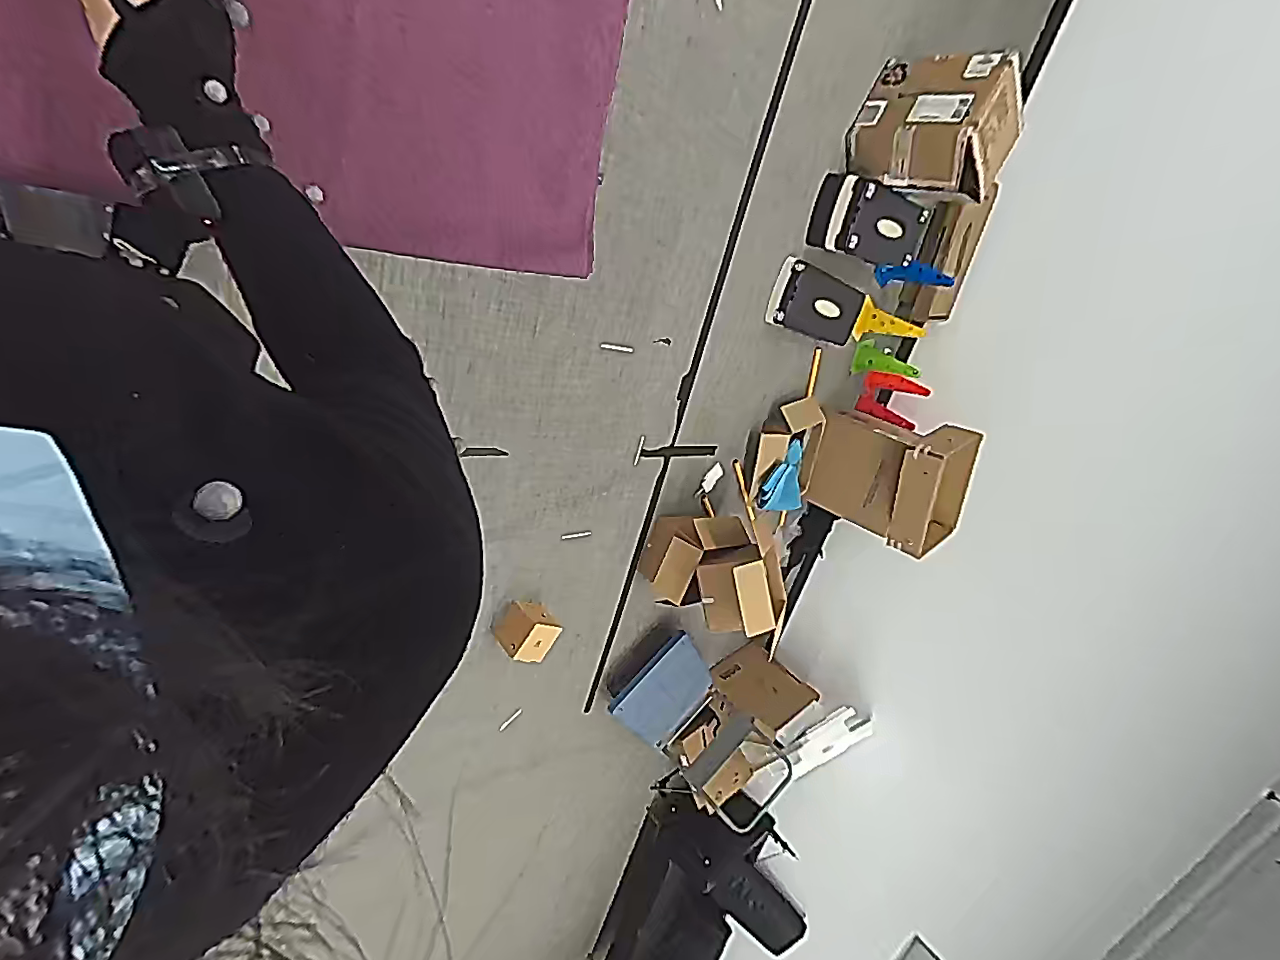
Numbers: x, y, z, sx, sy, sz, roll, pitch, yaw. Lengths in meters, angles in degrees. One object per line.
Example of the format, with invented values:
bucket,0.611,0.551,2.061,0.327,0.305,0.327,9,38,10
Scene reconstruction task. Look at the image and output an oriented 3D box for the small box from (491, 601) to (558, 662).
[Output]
small box,-0.477,0.617,2.210,0.179,0.176,0.168,-56,142,2
